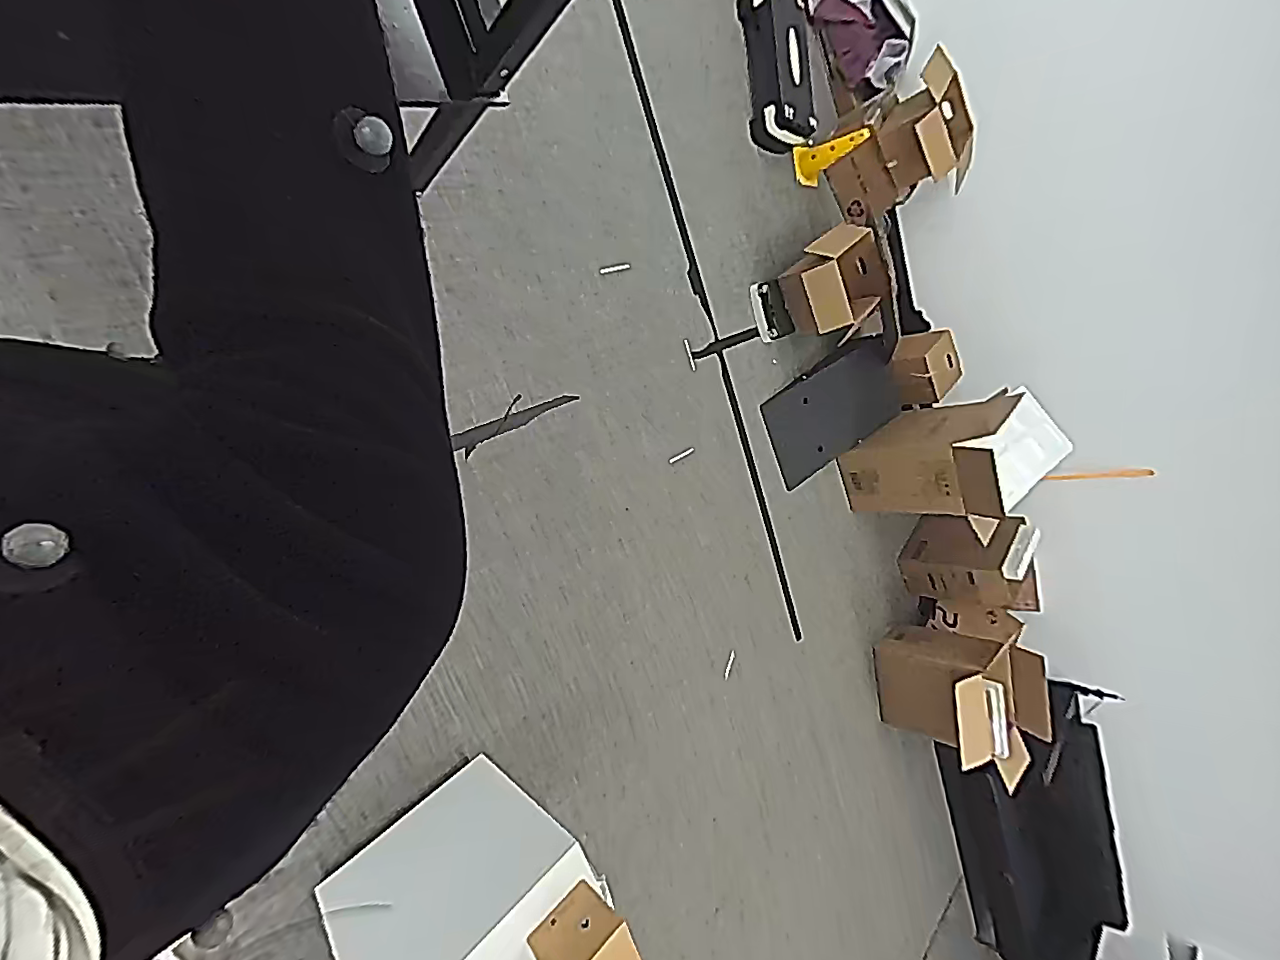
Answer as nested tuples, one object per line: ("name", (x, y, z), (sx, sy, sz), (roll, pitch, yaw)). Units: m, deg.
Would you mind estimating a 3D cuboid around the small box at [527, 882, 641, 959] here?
("small box", (-0.124, 1.048, 1.202), (0.168, 0.176, 0.179), (-30, 109, -36))
